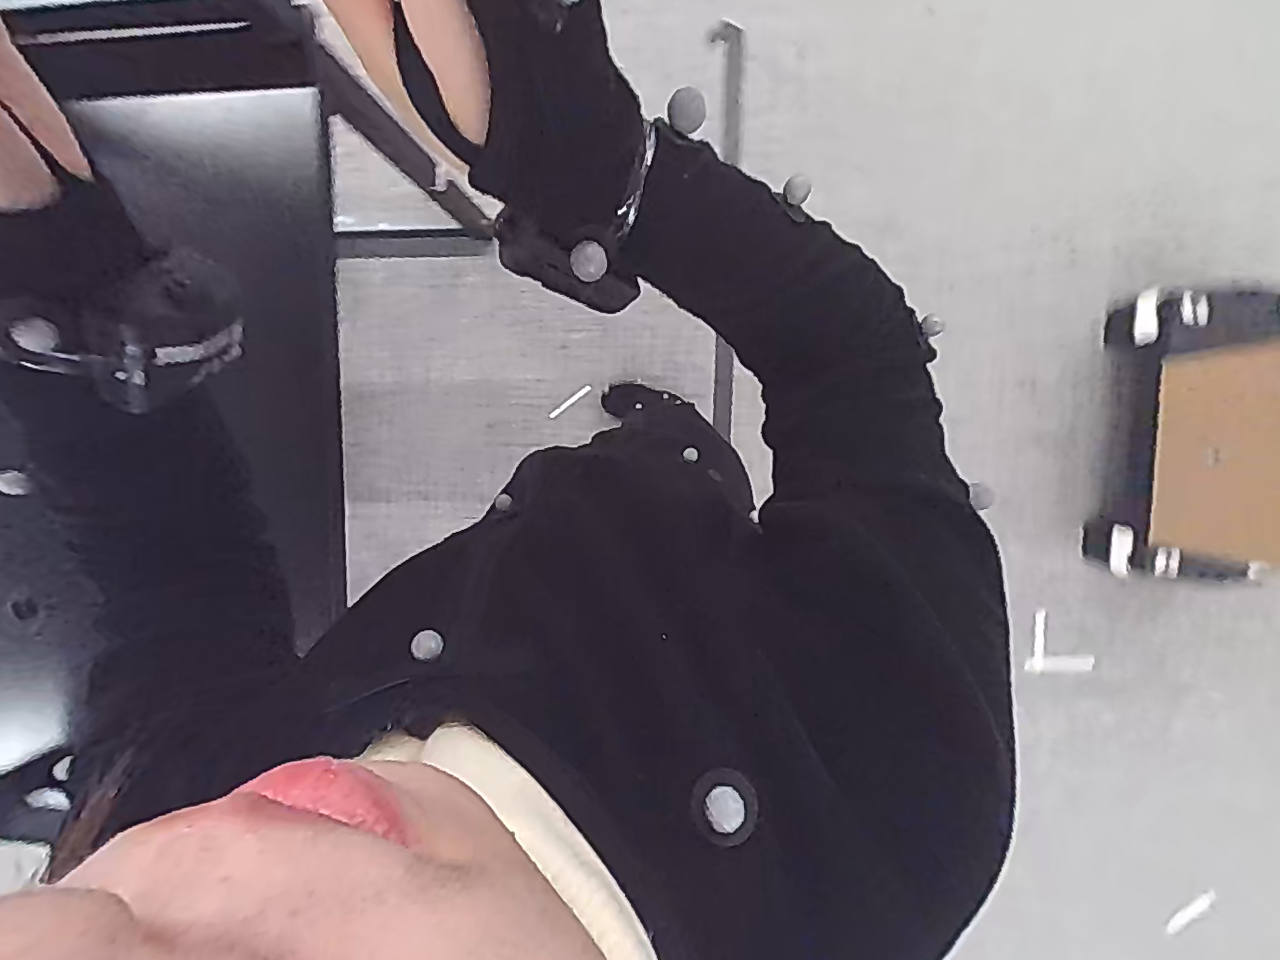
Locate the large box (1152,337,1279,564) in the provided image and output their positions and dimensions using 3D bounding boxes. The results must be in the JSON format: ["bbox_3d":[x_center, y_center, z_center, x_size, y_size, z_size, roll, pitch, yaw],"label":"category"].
[{"bbox_3d":[1.279,-0.061,1.038,0.320,0.320,0.408,-1,94,4],"label":"large box"}]
